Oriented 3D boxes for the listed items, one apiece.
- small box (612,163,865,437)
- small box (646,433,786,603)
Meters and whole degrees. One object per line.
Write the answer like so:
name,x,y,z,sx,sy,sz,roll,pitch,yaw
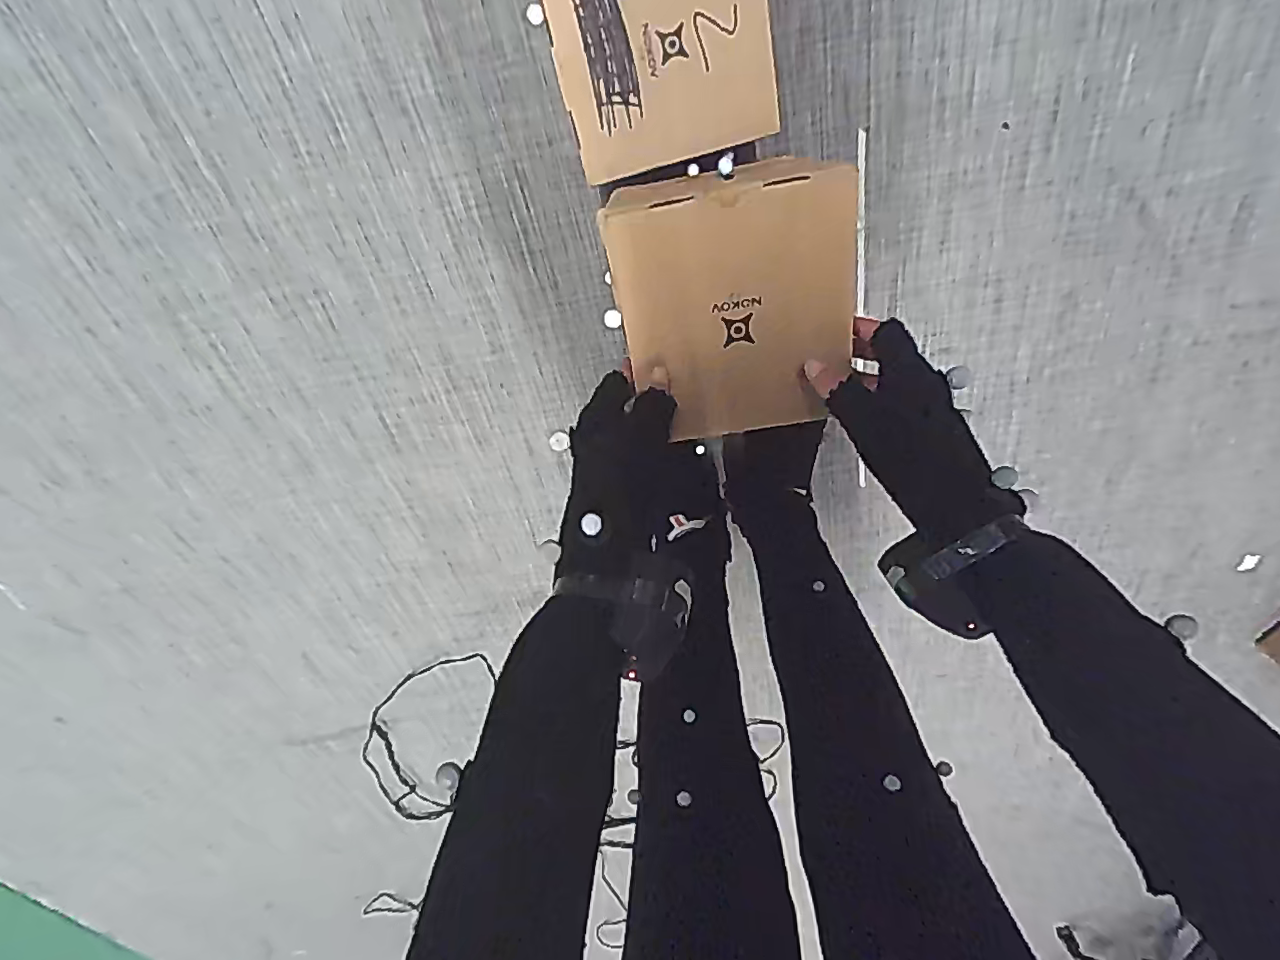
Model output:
small box,0.076,-0.157,0.460,0.168,0.176,0.179,-7,120,5
small box,0.109,0.053,0.814,0.168,0.176,0.179,-11,124,-3
